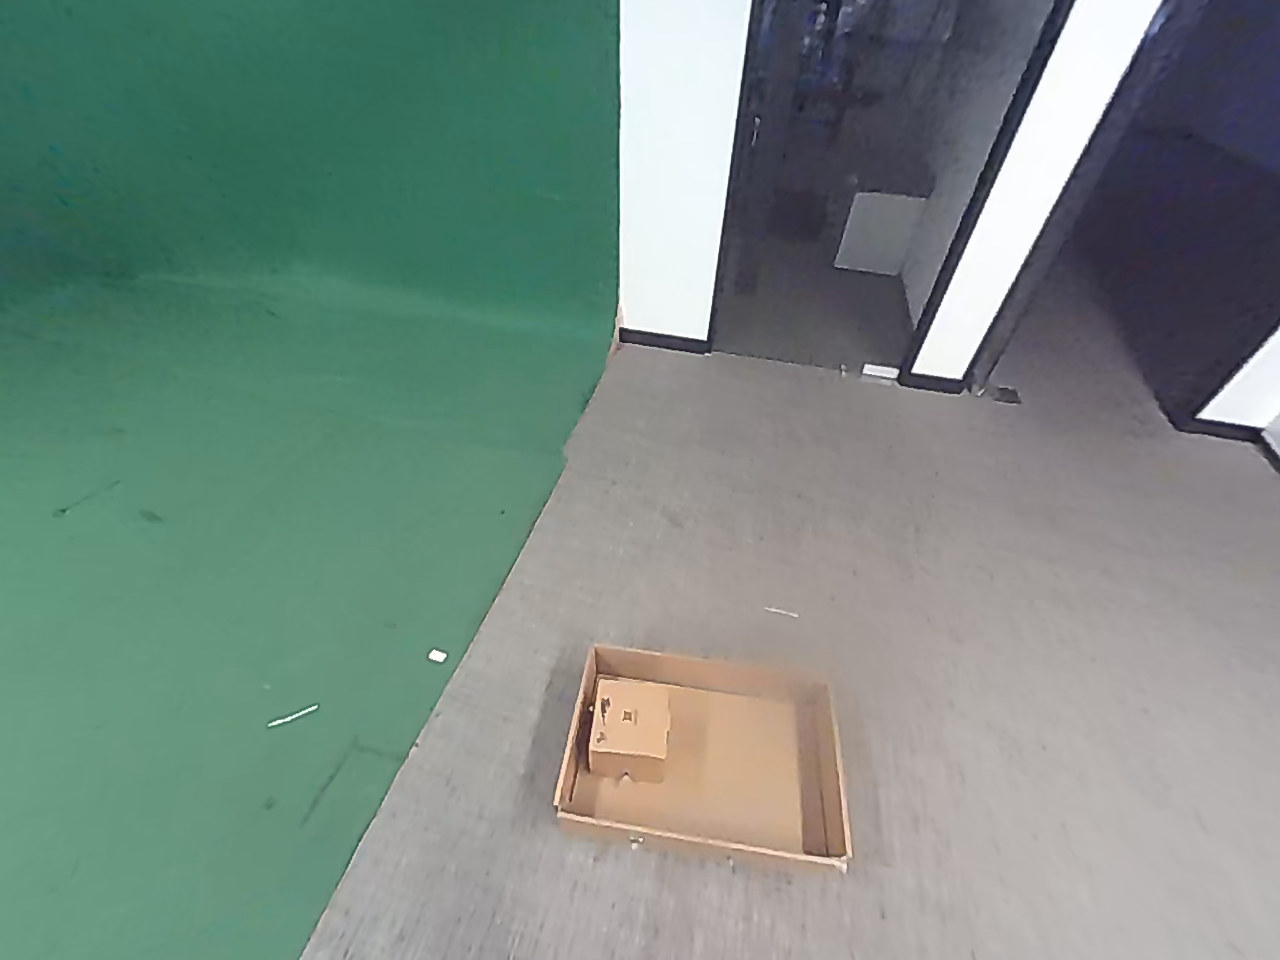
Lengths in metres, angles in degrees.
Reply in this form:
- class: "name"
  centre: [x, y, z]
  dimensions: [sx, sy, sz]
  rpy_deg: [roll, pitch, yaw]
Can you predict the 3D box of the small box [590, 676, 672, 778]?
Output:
- class: "small box"
  centre: [-0.023, 0.598, 1.303]
  dimensions: [0.179, 0.176, 0.168]
  rpy_deg: [6, 44, 2]
